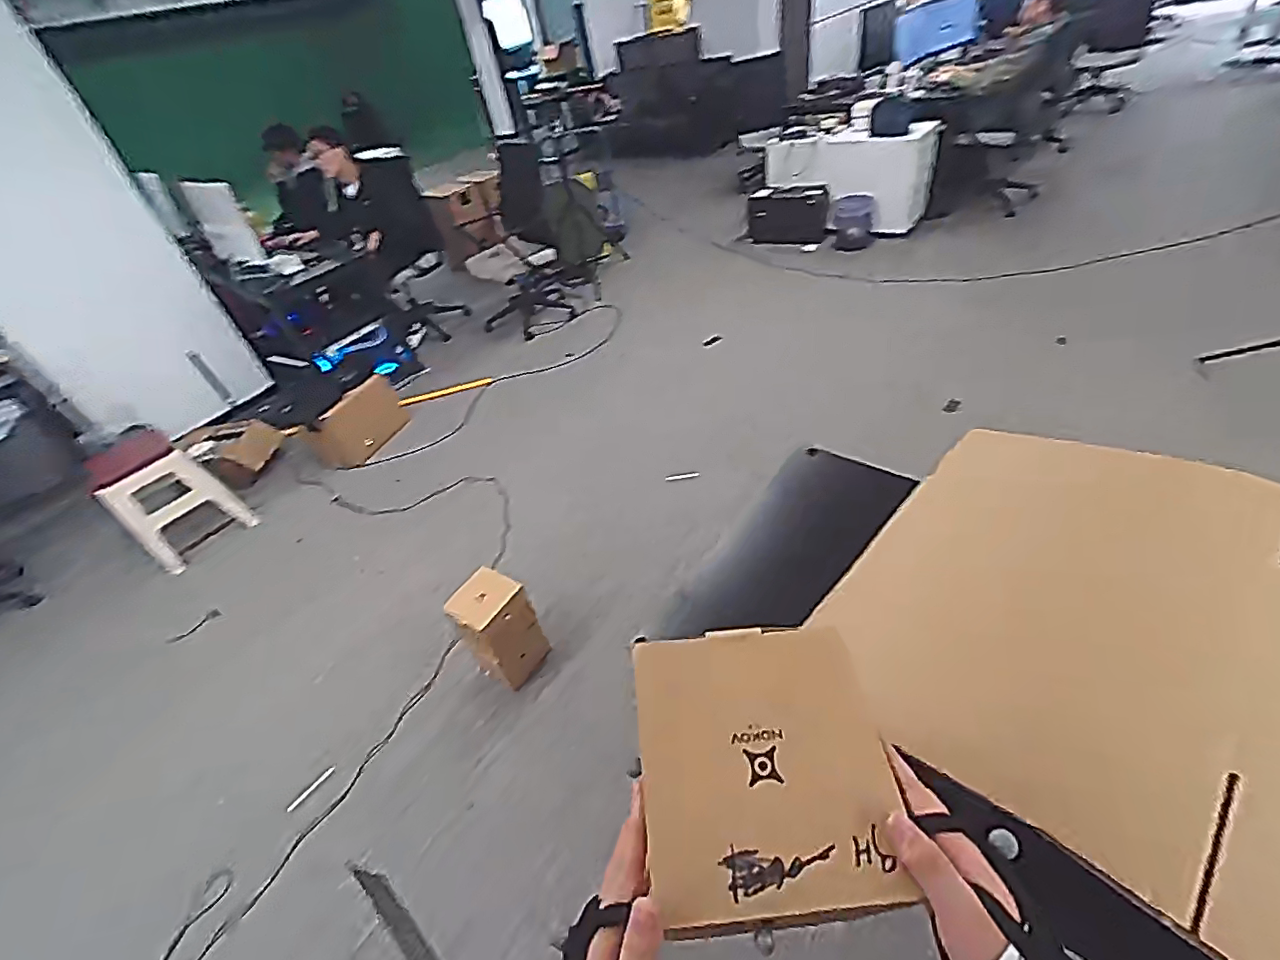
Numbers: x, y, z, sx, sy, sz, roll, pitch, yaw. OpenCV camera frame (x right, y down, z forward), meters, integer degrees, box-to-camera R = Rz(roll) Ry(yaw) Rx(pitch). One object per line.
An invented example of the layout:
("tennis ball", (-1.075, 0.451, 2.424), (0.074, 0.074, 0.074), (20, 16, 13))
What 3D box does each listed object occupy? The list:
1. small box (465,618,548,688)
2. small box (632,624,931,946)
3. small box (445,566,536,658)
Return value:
("small box", (-0.411, 0.517, 1.707), (0.168, 0.176, 0.179), (20, 51, 32))
("small box", (0.082, 0.239, 0.425), (0.168, 0.176, 0.179), (-6, 47, -3))
("small box", (-0.435, 0.393, 1.603), (0.168, 0.176, 0.179), (18, 49, 29))
